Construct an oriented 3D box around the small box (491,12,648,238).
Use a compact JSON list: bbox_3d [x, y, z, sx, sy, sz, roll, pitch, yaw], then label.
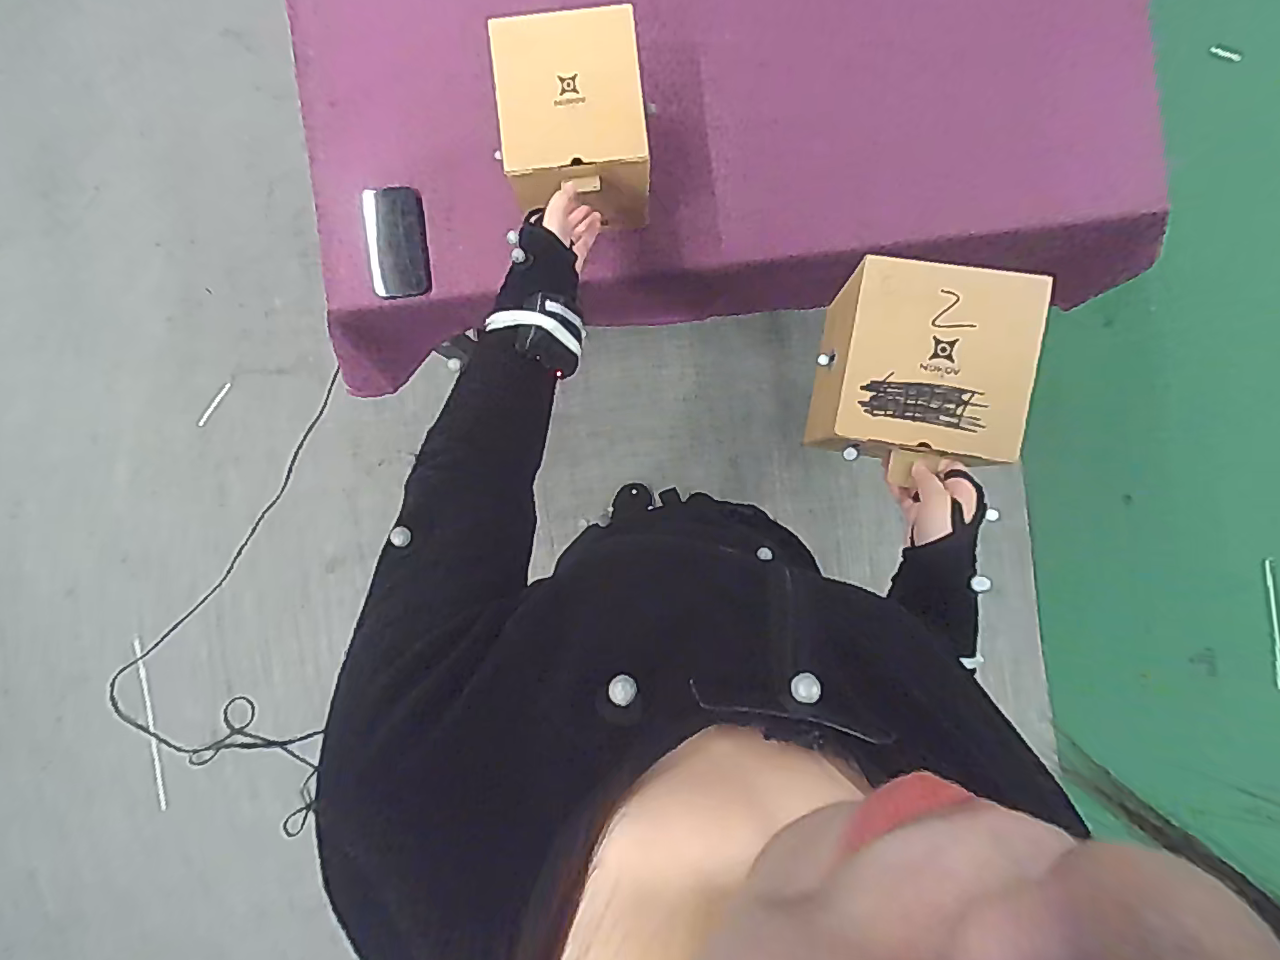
[{"bbox_3d":[-0.083,-0.440,0.695,0.168,0.176,0.179,-7,91,0],"label":"small box"}]
